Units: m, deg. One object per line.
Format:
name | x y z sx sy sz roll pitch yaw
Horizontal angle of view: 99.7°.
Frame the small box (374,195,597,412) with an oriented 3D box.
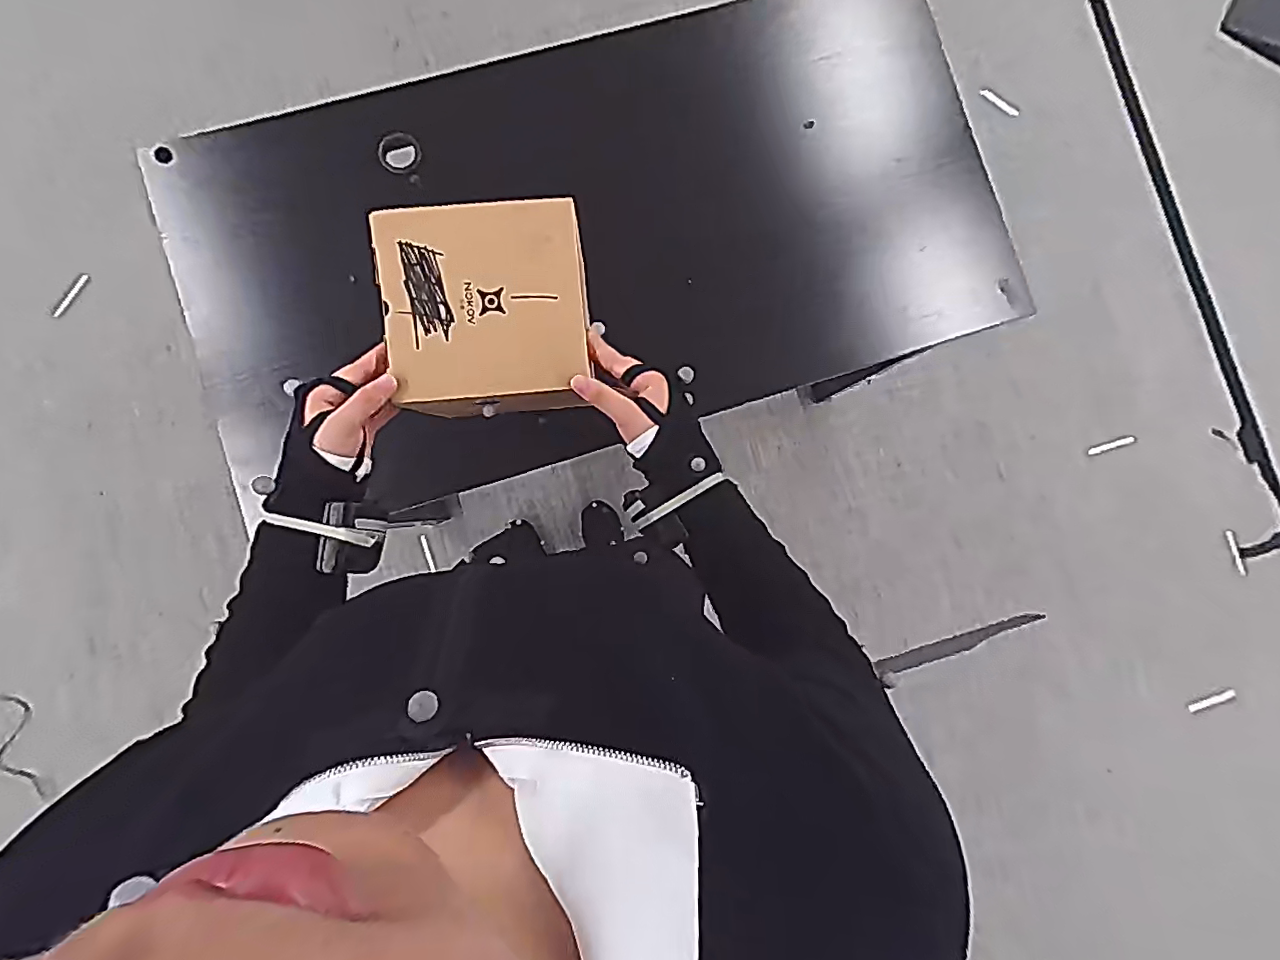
small box | -0.139 -0.162 0.548 0.179 0.176 0.168 -5 93 -3
